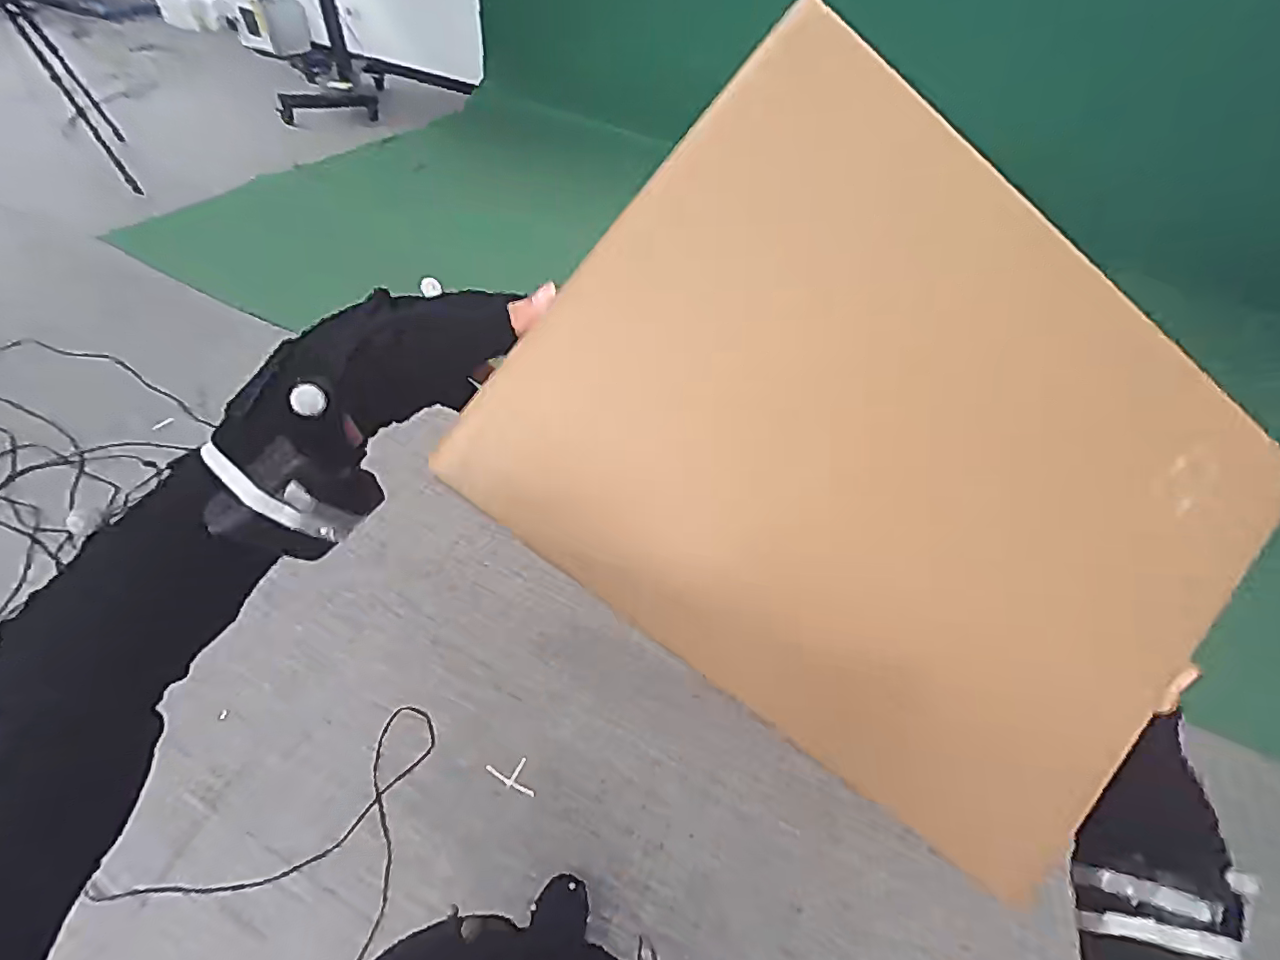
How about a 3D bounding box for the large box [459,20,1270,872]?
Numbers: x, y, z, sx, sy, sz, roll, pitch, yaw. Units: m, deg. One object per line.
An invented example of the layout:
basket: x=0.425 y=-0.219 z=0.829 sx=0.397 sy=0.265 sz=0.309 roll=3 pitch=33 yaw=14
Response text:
large box: x=0.126 y=-0.009 z=0.445 sx=0.408 sy=0.320 sz=0.320 roll=40 pitch=85 yaw=-6
